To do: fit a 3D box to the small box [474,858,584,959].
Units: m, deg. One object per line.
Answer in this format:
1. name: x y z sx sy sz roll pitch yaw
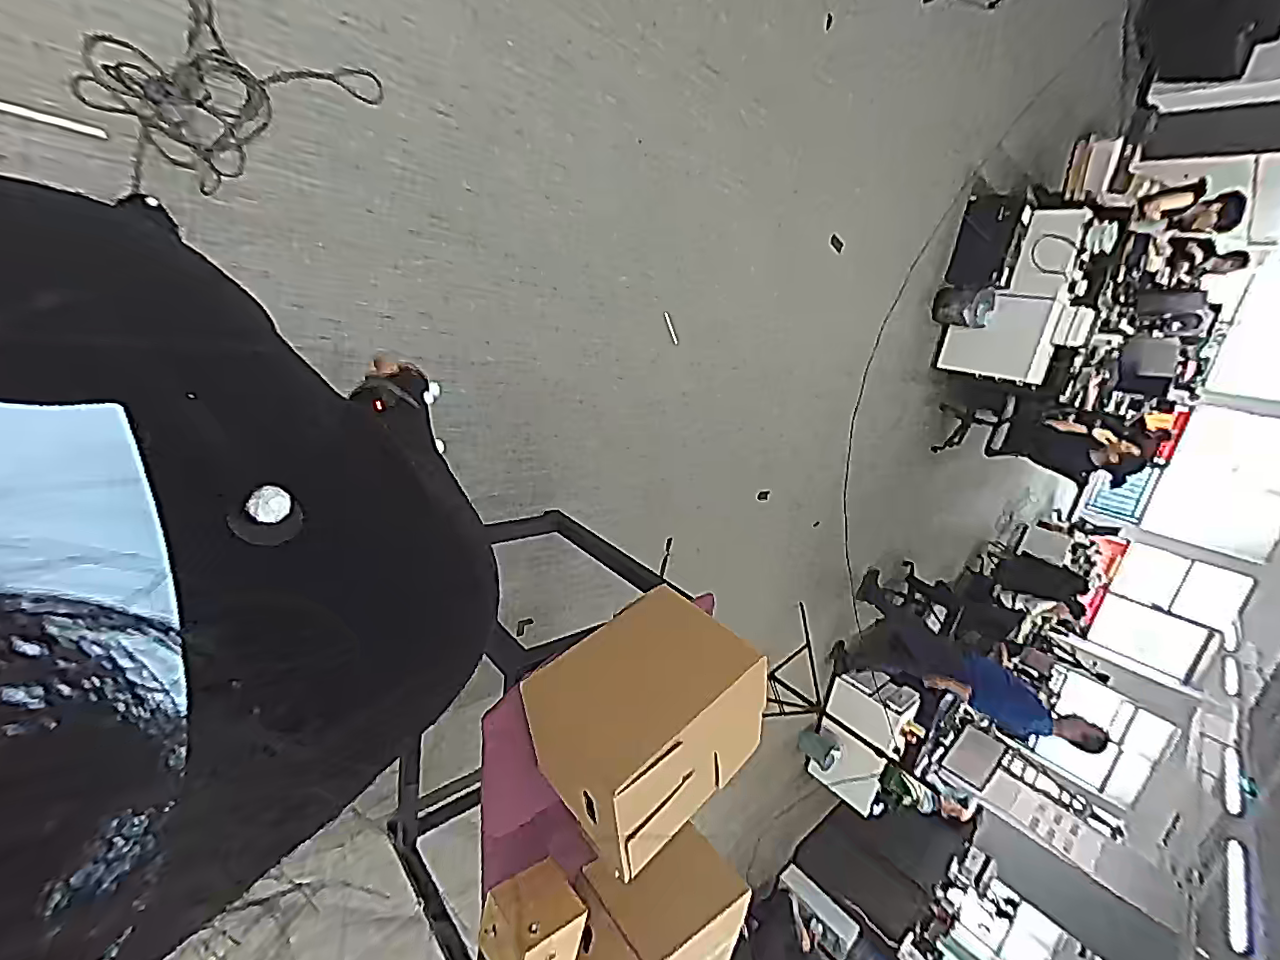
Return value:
1. small box: -0.264 1.051 1.276 0.179 0.176 0.168 1 108 -44
